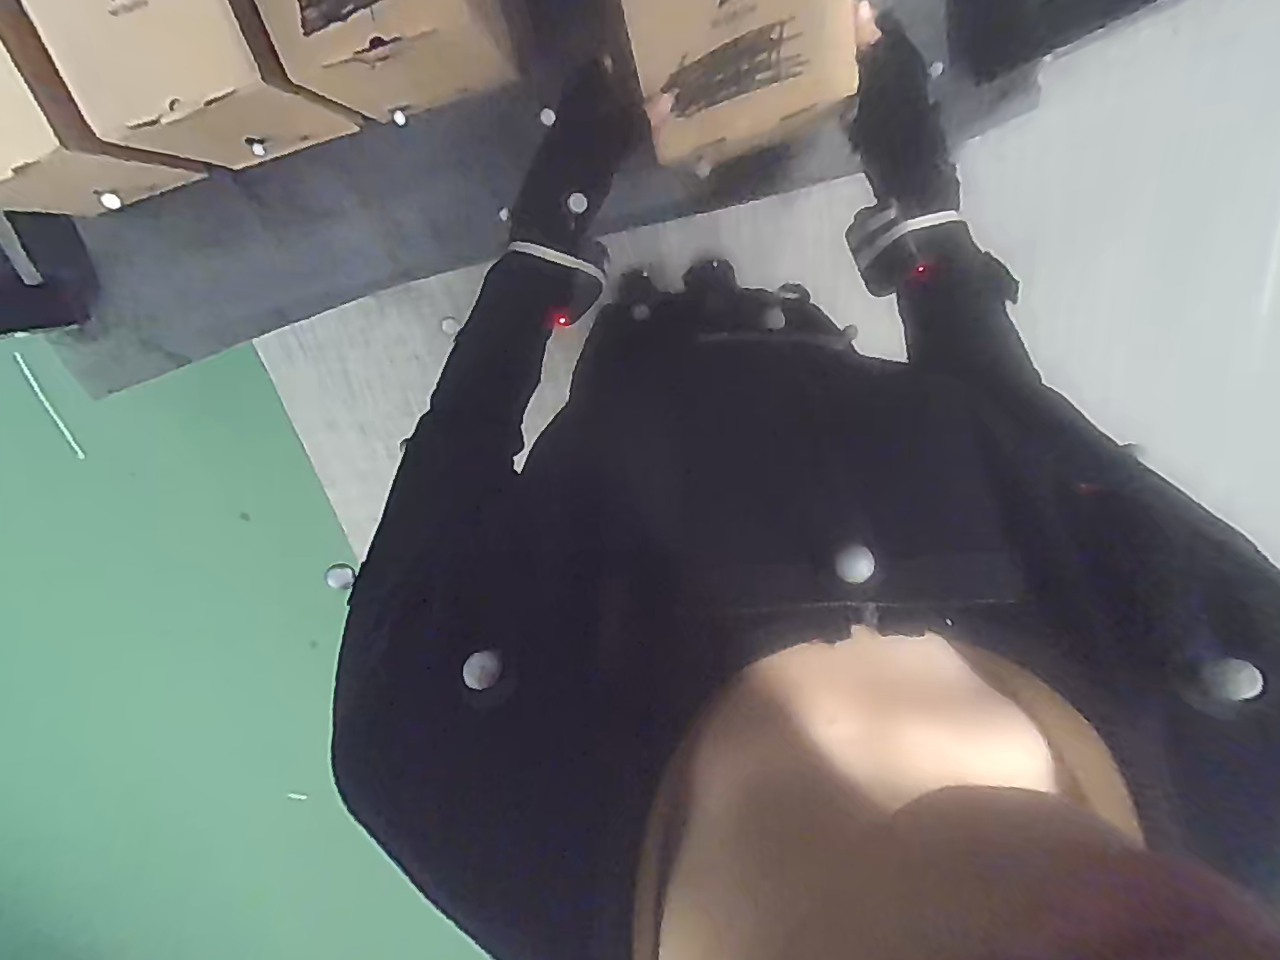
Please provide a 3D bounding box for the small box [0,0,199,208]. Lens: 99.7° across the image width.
[{"bbox_3d":[-0.595,-0.381,0.518,0.168,0.176,0.179,-13,112,8],"label":"small box"}]
